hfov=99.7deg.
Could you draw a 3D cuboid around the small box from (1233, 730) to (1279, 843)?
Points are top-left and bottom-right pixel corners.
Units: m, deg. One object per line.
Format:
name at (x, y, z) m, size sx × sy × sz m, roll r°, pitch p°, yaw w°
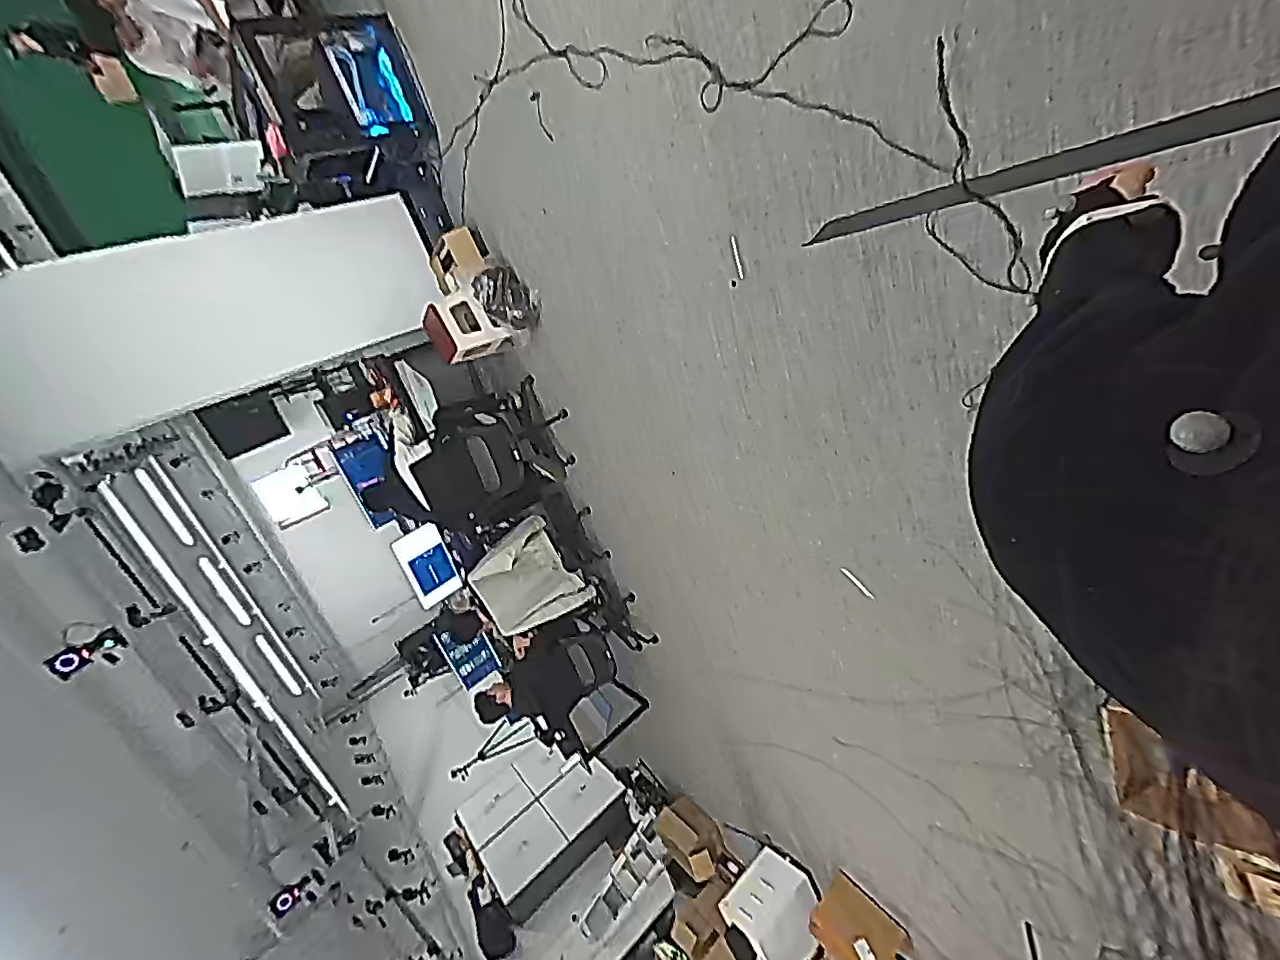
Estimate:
small box at (1.508, 0.721, 1.240) m, size 0.168 × 0.176 × 0.179 m, roll -4°, pitch 114°, yaw 57°
